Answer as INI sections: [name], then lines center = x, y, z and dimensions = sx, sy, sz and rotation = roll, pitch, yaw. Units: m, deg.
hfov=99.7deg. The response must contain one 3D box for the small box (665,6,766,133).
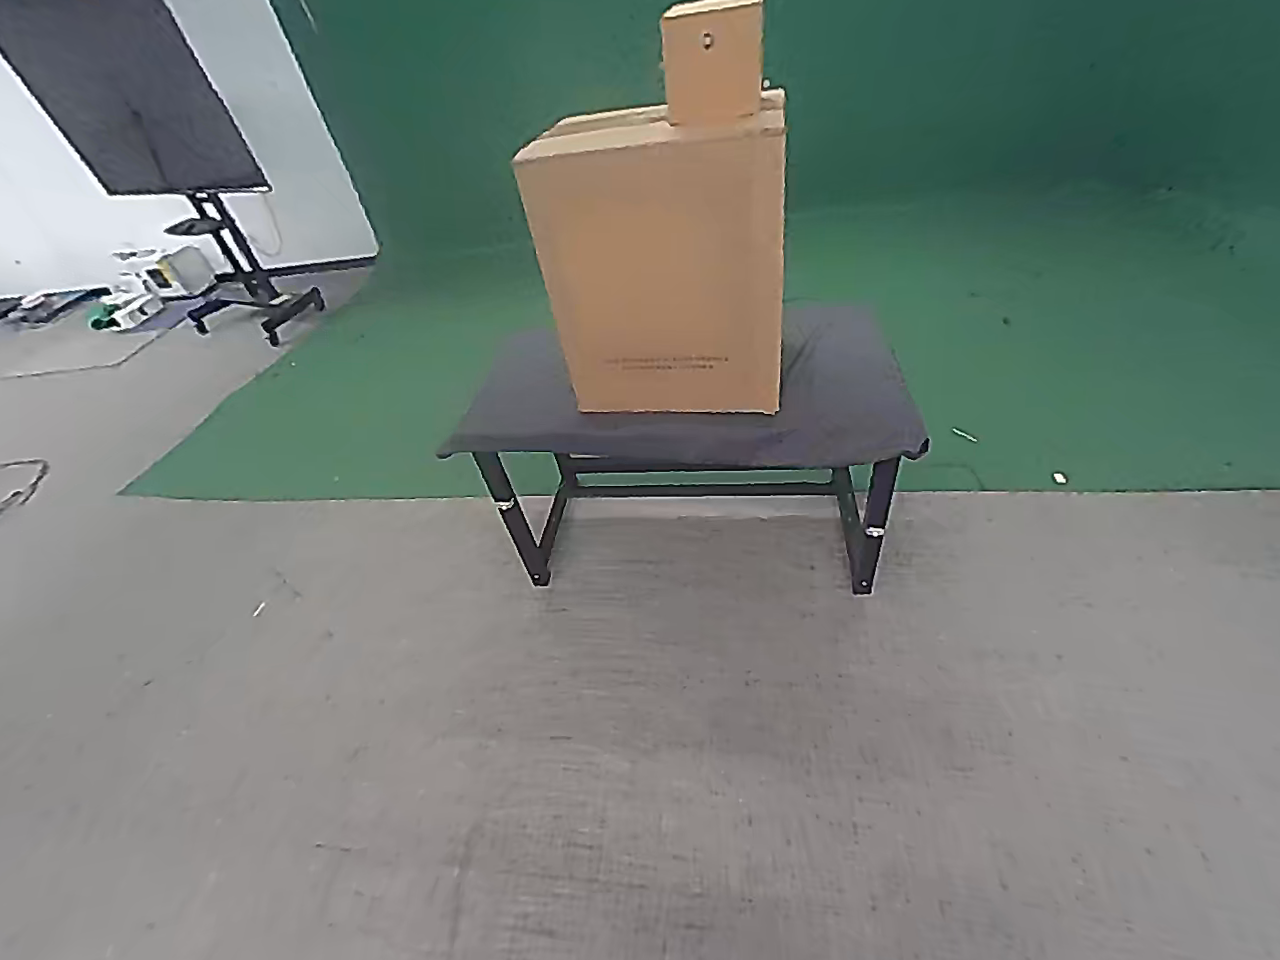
[small box]
center = 0.153, -0.798, 1.057
dimensions = 0.179, 0.176, 0.168
rotation = 3, 46, 12
